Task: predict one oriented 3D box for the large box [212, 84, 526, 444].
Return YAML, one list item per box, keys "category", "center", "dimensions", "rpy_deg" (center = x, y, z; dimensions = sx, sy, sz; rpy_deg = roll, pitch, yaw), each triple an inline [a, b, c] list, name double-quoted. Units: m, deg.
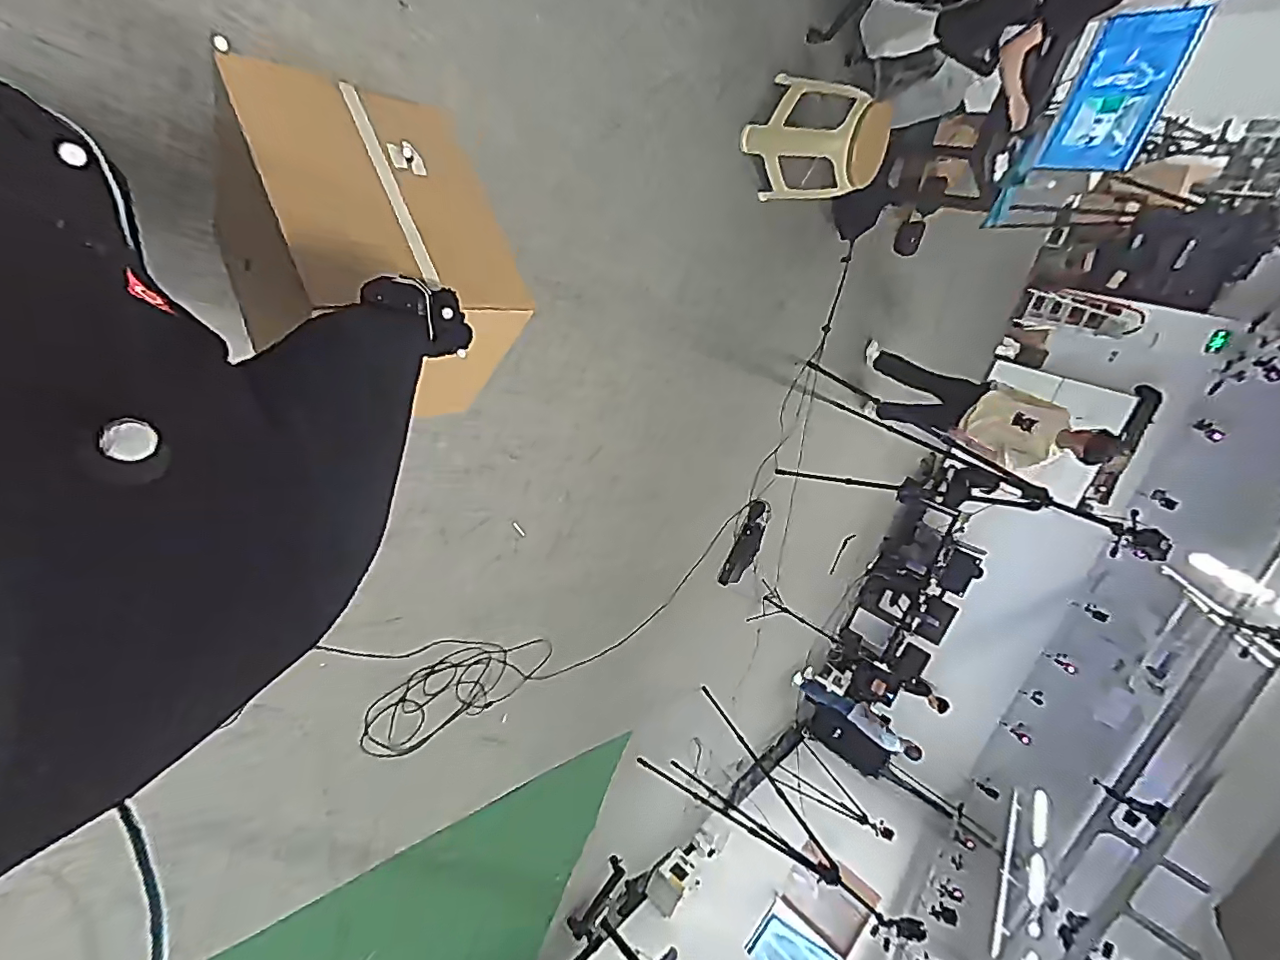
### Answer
- category: "large box"
  center: [-0.453, -0.322, 0.888]
  dimensions: [0.320, 0.408, 0.320]
  rpy_deg: [-16, 164, -44]
